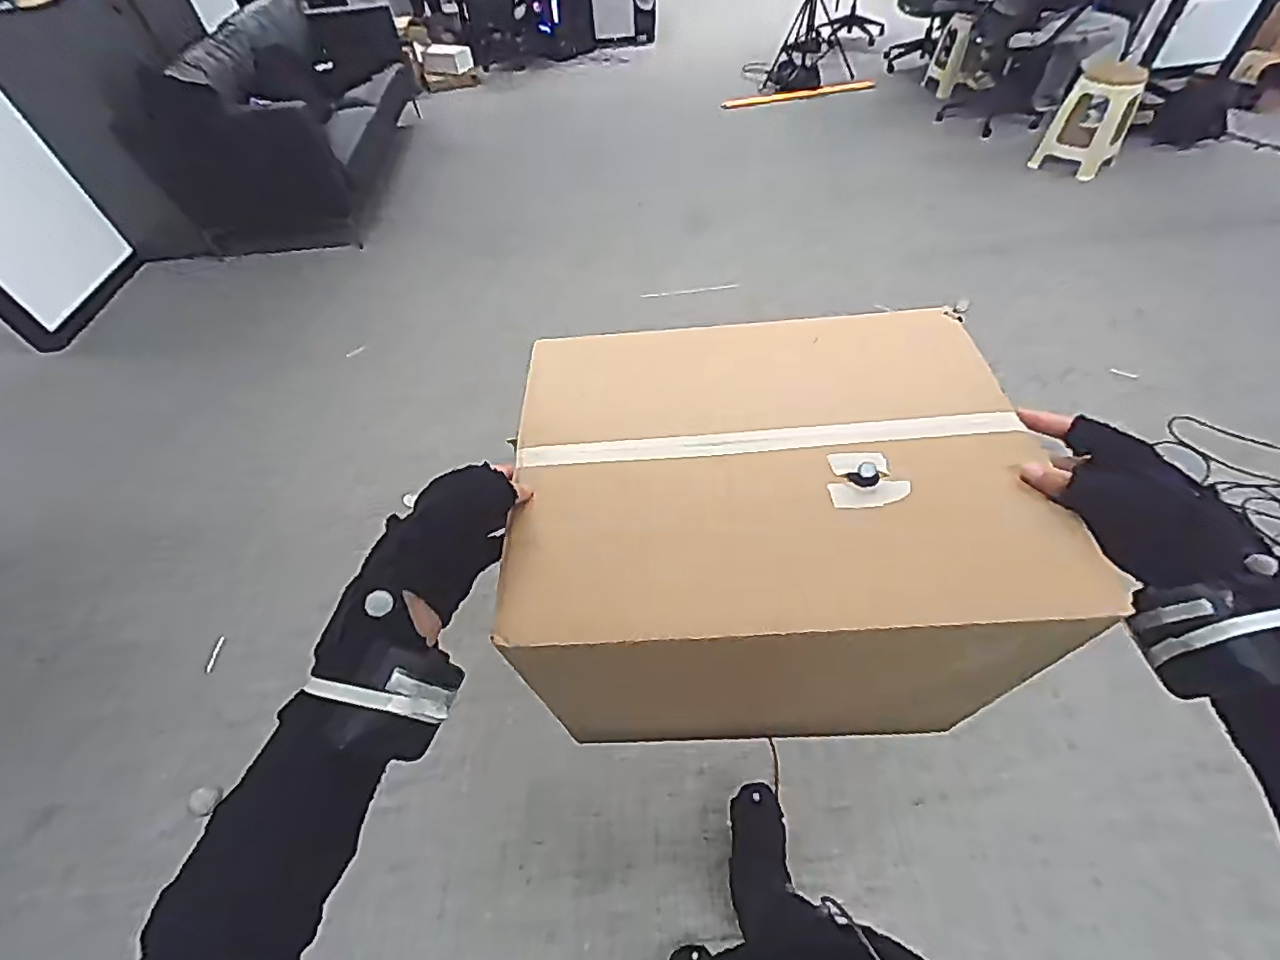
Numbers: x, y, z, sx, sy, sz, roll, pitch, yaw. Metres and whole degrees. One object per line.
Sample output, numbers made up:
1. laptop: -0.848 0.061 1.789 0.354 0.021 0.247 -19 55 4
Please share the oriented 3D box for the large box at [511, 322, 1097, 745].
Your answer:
1. large box: 0.112 0.070 0.570 0.408 0.320 0.320 -4 53 3
